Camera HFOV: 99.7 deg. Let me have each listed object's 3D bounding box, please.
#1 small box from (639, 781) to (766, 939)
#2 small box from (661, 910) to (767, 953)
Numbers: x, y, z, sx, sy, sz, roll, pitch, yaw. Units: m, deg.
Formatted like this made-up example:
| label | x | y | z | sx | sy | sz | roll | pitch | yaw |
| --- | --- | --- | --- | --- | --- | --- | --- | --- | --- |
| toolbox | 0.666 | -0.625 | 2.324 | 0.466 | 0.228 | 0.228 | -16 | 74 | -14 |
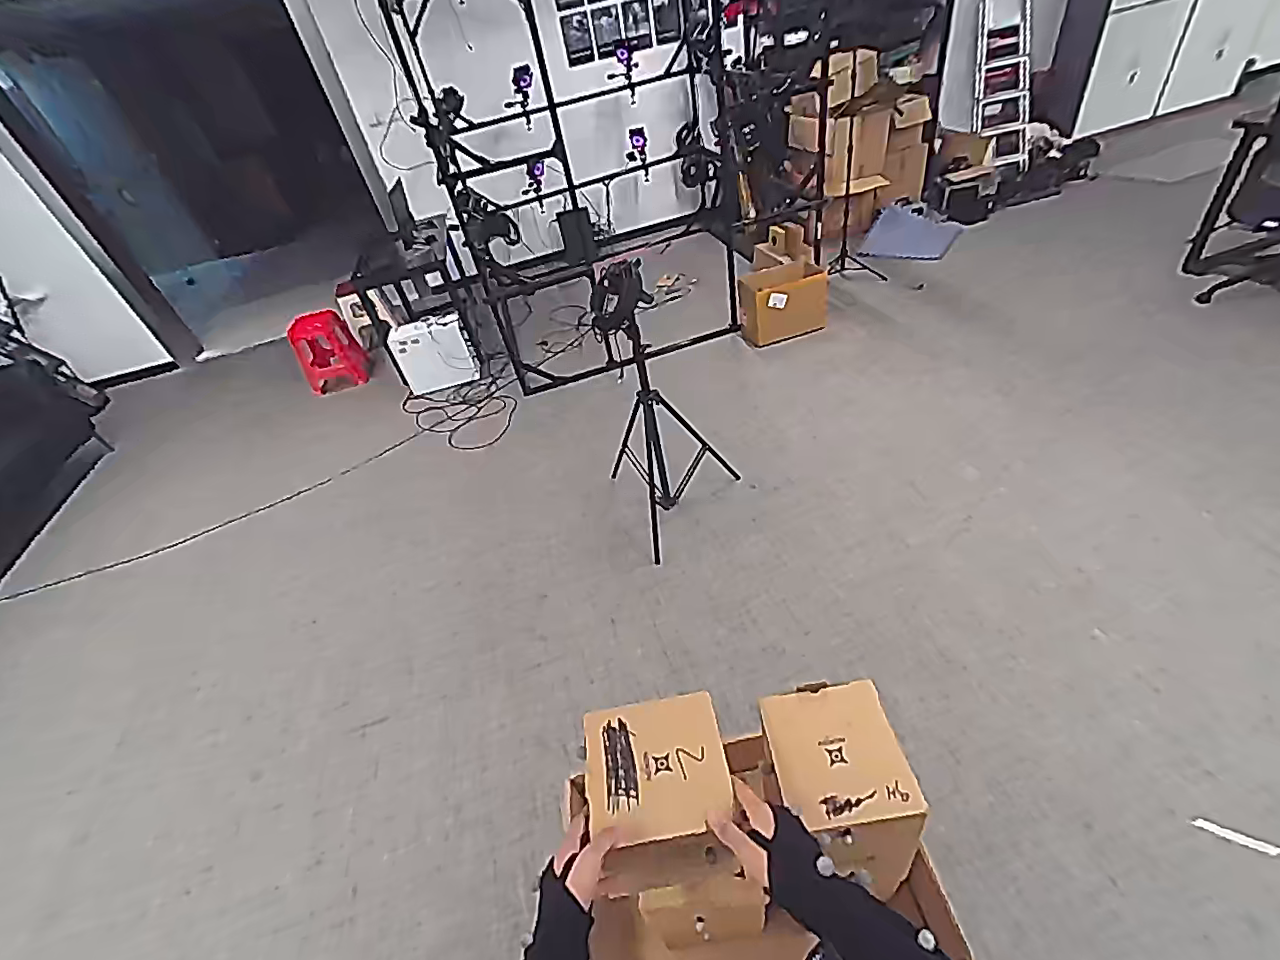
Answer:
| label | x | y | z | sx | sy | sz | roll | pitch | yaw |
| --- | --- | --- | --- | --- | --- | --- | --- | --- | --- |
| small box | 0.096 | 0.593 | 0.843 | 0.179 | 0.176 | 0.168 | -8 | 40 | 6 |
| small box | 0.118 | 0.709 | 0.959 | 0.179 | 0.176 | 0.168 | -11 | 39 | 1 |
